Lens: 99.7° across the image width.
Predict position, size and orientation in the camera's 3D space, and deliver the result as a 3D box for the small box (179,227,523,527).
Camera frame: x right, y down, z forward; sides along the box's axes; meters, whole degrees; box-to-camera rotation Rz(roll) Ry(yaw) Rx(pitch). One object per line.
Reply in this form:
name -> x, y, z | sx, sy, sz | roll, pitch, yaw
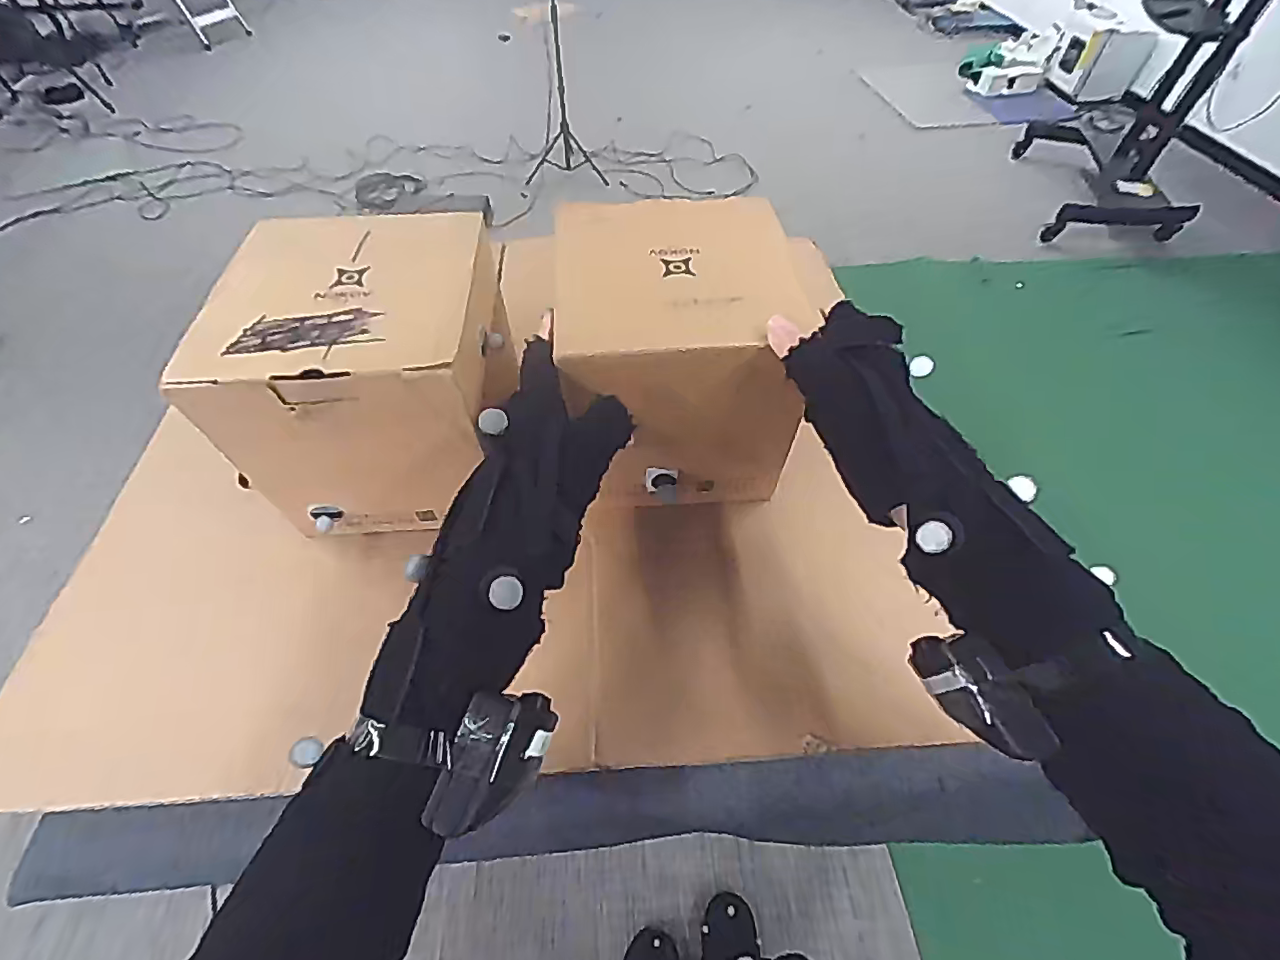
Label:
small box -> -0.192, -0.073, 0.428 | 0.168, 0.176, 0.179 | -3, 53, -2
